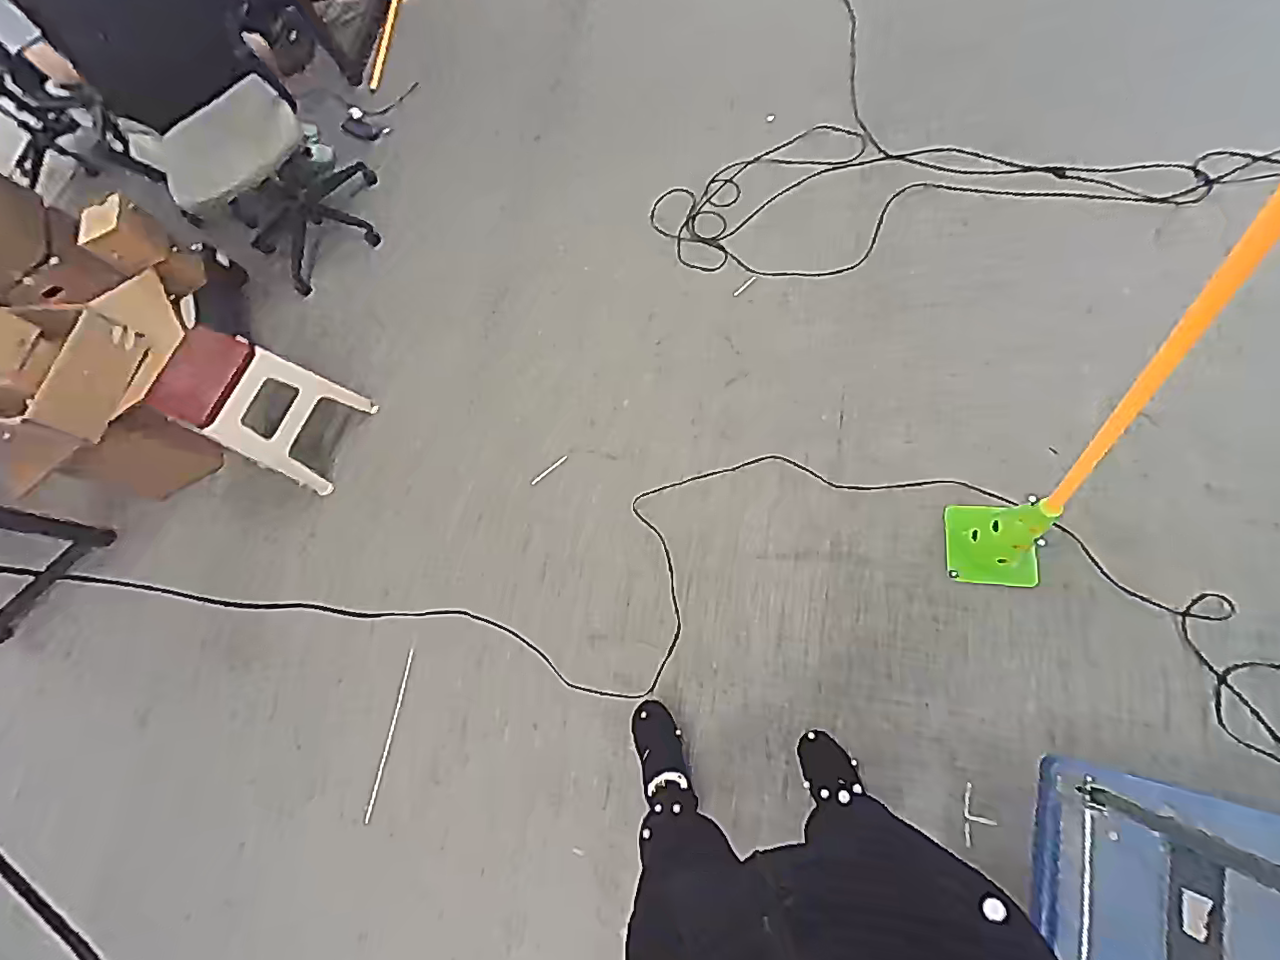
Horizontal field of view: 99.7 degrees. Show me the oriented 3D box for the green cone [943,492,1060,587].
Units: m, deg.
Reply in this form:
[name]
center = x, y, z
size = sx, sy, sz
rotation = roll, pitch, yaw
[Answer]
[green cone]
center = 0.837, 0.106, 1.204
size = 0.200, 0.368, 0.202
rotation = 2, 71, 15
